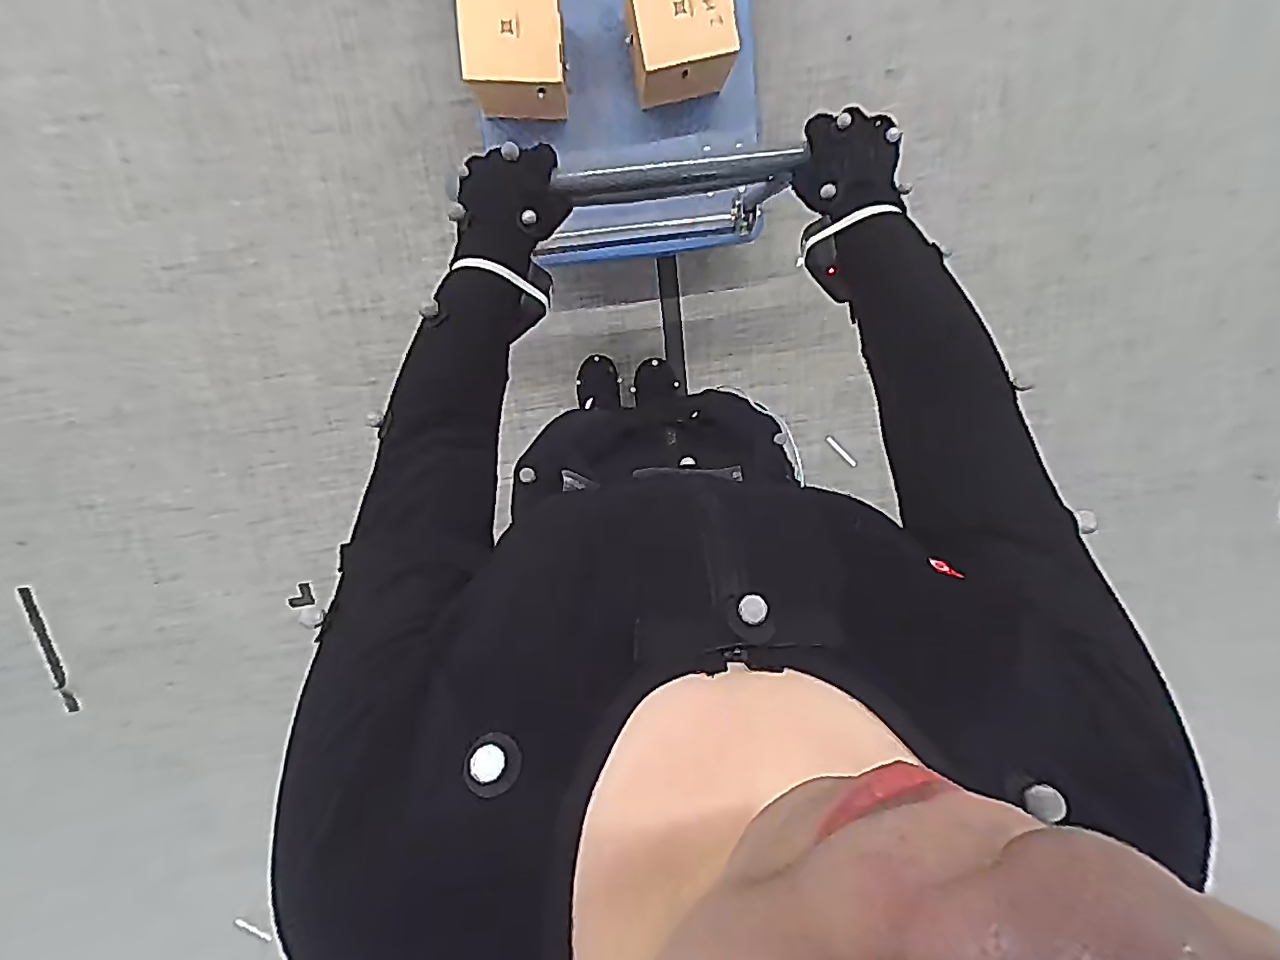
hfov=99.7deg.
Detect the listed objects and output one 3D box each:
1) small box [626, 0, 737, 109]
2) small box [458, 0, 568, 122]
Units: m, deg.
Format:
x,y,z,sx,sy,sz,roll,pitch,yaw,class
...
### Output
x,y,z,sx,sy,sz,roll,pitch,yaw,class
0.071,-0.838,1.026,0.179,0.176,0.168,-13,106,0,small box
-0.230,-0.797,1.016,0.179,0.176,0.168,-2,105,-5,small box
